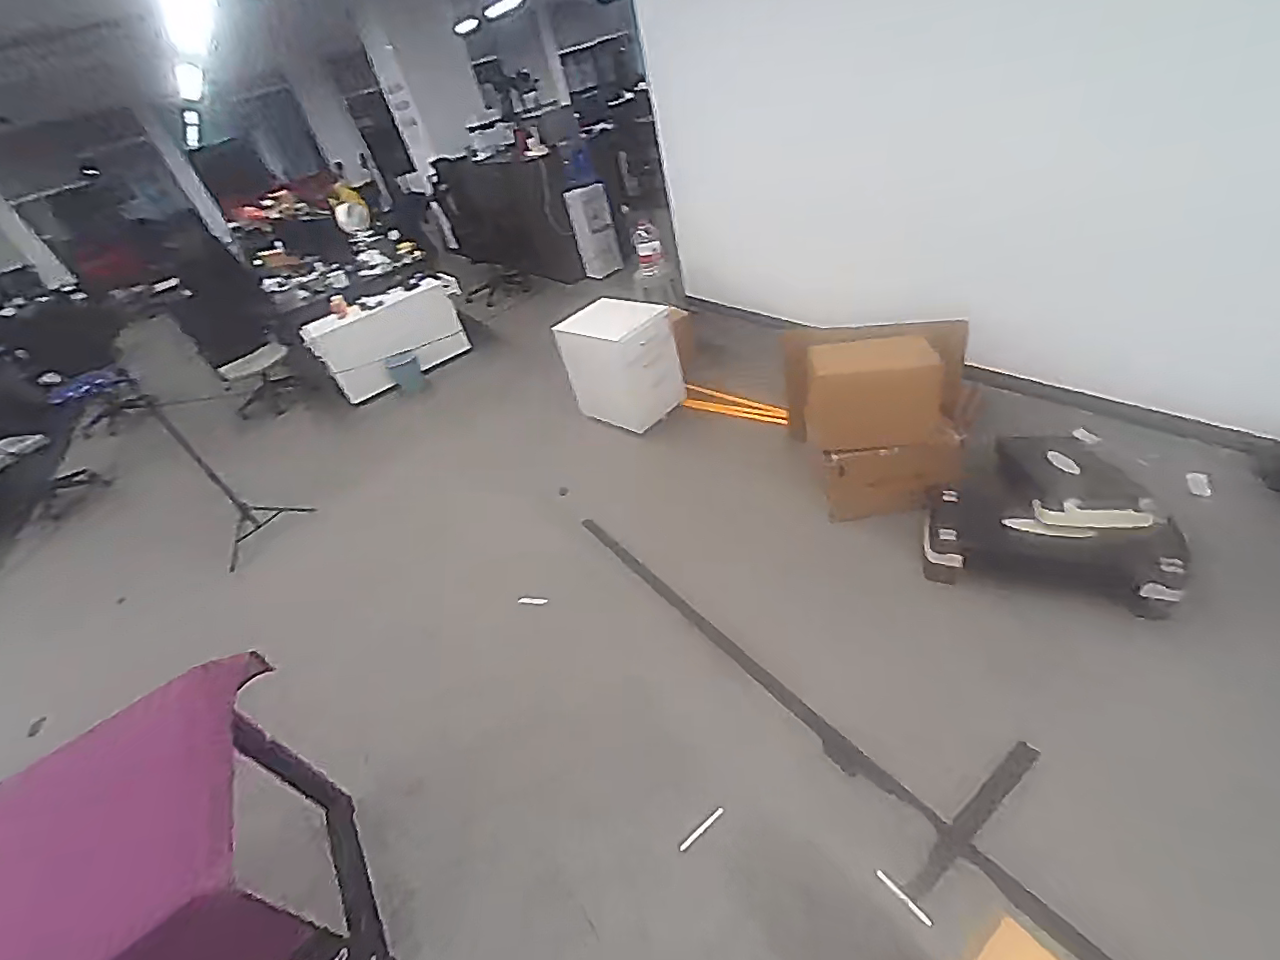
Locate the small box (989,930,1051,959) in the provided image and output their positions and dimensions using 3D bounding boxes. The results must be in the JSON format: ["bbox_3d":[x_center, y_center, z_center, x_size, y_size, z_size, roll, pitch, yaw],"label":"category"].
[{"bbox_3d":[0.578,0.829,0.797,0.179,0.176,0.168,-33,41,-20],"label":"small box"}]
